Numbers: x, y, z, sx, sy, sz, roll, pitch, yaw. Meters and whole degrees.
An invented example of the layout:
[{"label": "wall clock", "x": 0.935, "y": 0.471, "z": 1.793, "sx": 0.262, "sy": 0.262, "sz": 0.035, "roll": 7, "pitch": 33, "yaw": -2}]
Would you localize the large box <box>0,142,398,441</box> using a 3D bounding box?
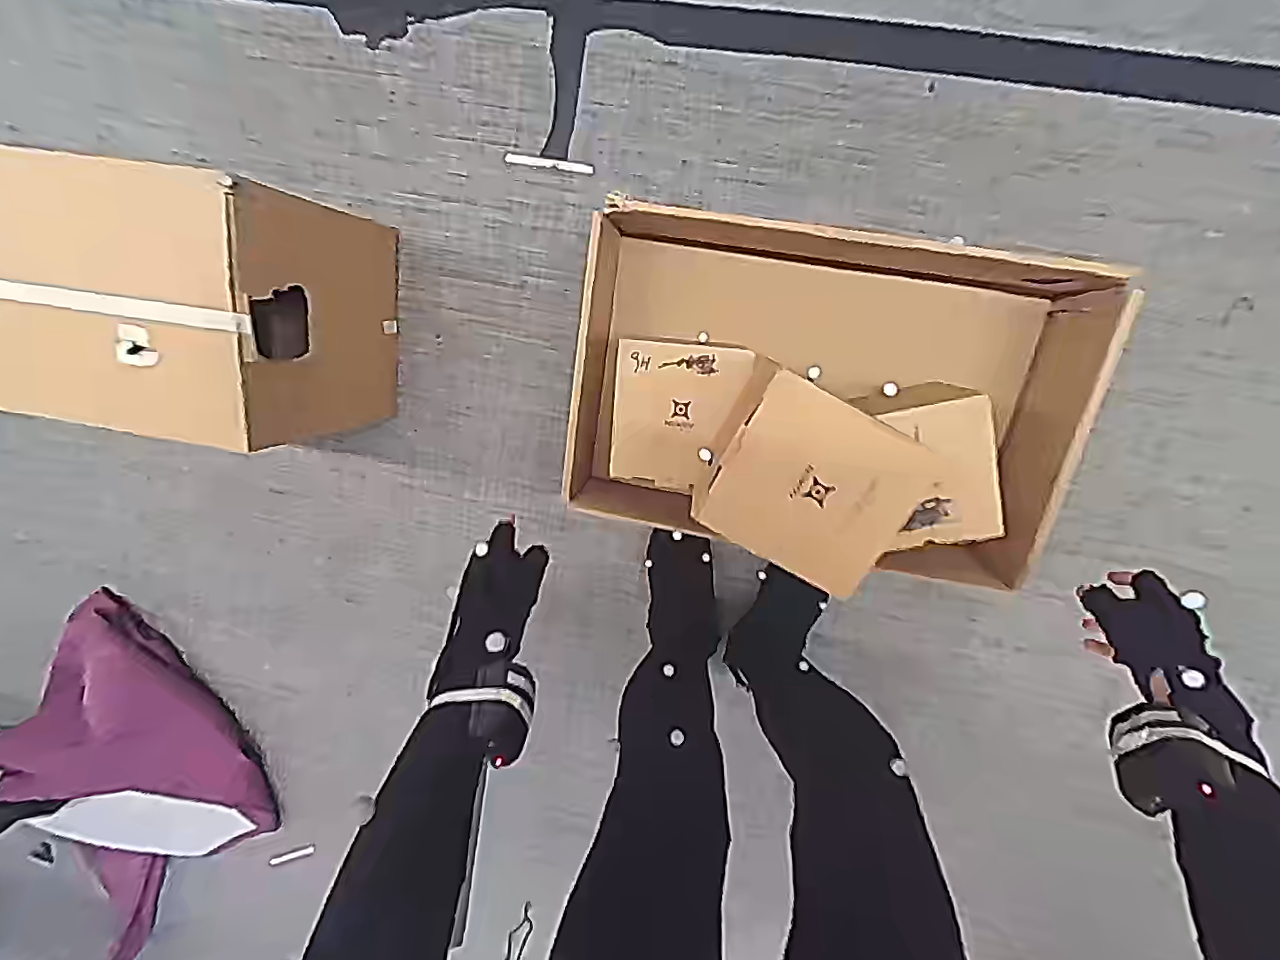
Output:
[{"label": "large box", "x": -0.619, "y": -0.255, "z": 0.781, "sx": 0.408, "sy": 0.320, "sz": 0.320, "roll": 9, "pitch": 106, "yaw": 6}]
